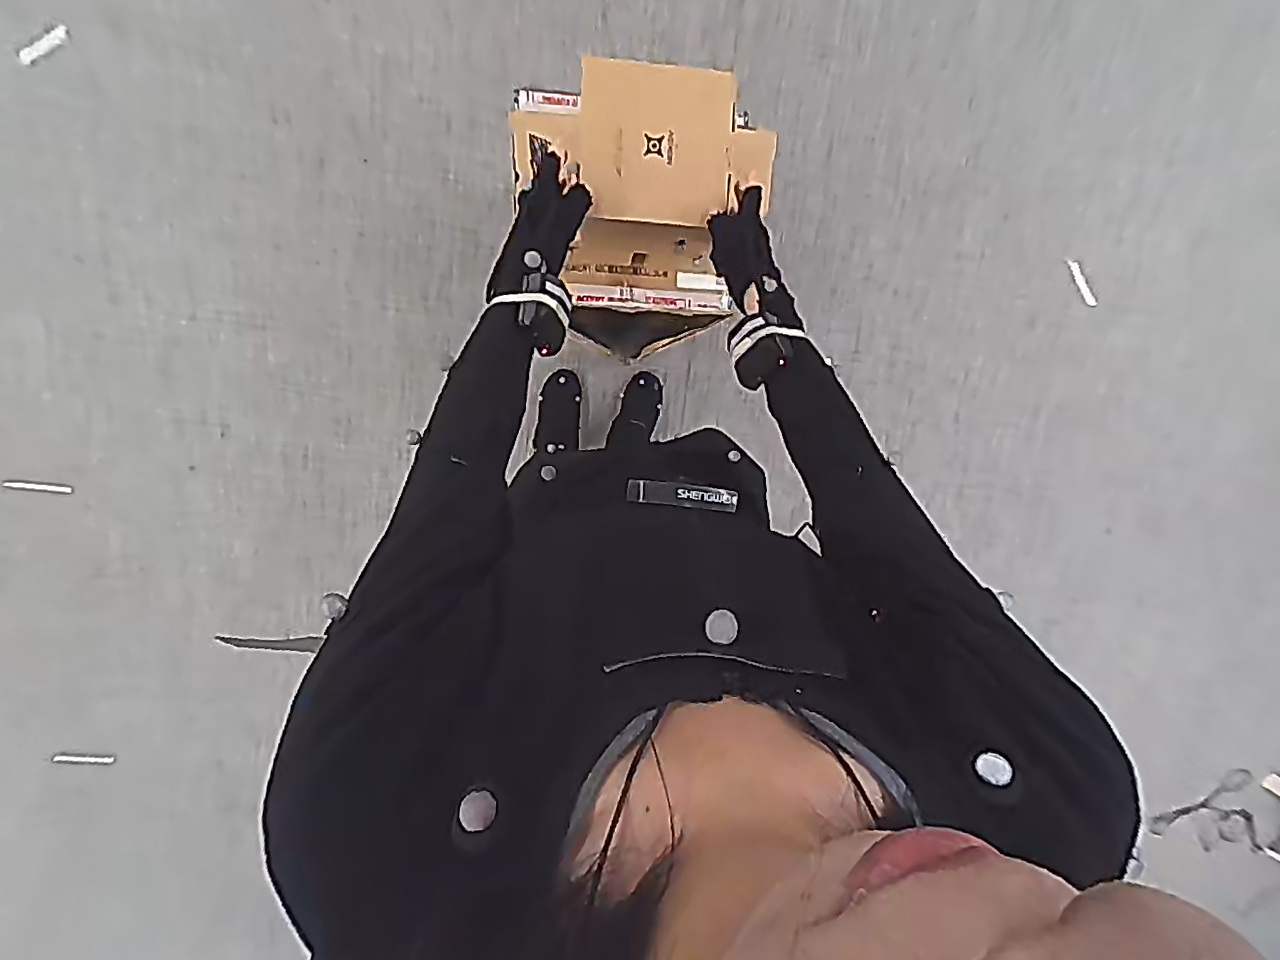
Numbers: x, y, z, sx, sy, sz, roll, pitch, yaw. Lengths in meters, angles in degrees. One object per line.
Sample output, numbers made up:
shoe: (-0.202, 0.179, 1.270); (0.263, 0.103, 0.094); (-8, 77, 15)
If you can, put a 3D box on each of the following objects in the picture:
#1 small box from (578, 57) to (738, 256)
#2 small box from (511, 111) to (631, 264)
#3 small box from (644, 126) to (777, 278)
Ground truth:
small box: (0.012, -0.390, 0.684); (0.179, 0.176, 0.168); (1, 101, -5)
small box: (-0.096, -0.436, 0.832); (0.179, 0.176, 0.168); (0, 102, -5)
small box: (0.100, -0.431, 0.853); (0.168, 0.176, 0.179); (2, 101, -8)
